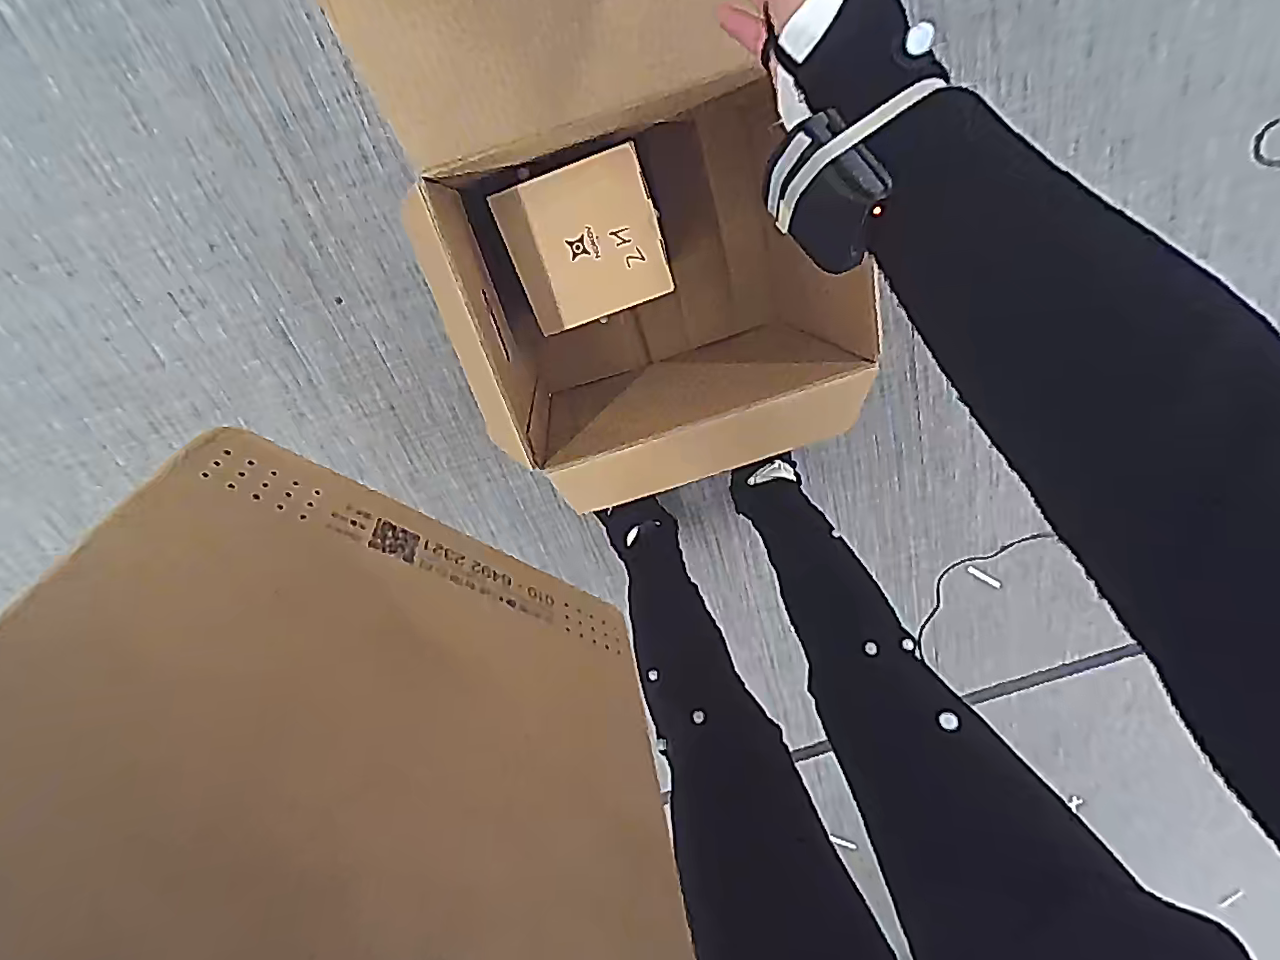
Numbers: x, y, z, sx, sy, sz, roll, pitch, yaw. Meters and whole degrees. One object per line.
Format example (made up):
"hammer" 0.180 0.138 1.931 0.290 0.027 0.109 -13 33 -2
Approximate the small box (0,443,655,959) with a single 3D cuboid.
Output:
"small box" -0.108 0.123 0.168 0.168 0.176 0.179 33 110 -28
